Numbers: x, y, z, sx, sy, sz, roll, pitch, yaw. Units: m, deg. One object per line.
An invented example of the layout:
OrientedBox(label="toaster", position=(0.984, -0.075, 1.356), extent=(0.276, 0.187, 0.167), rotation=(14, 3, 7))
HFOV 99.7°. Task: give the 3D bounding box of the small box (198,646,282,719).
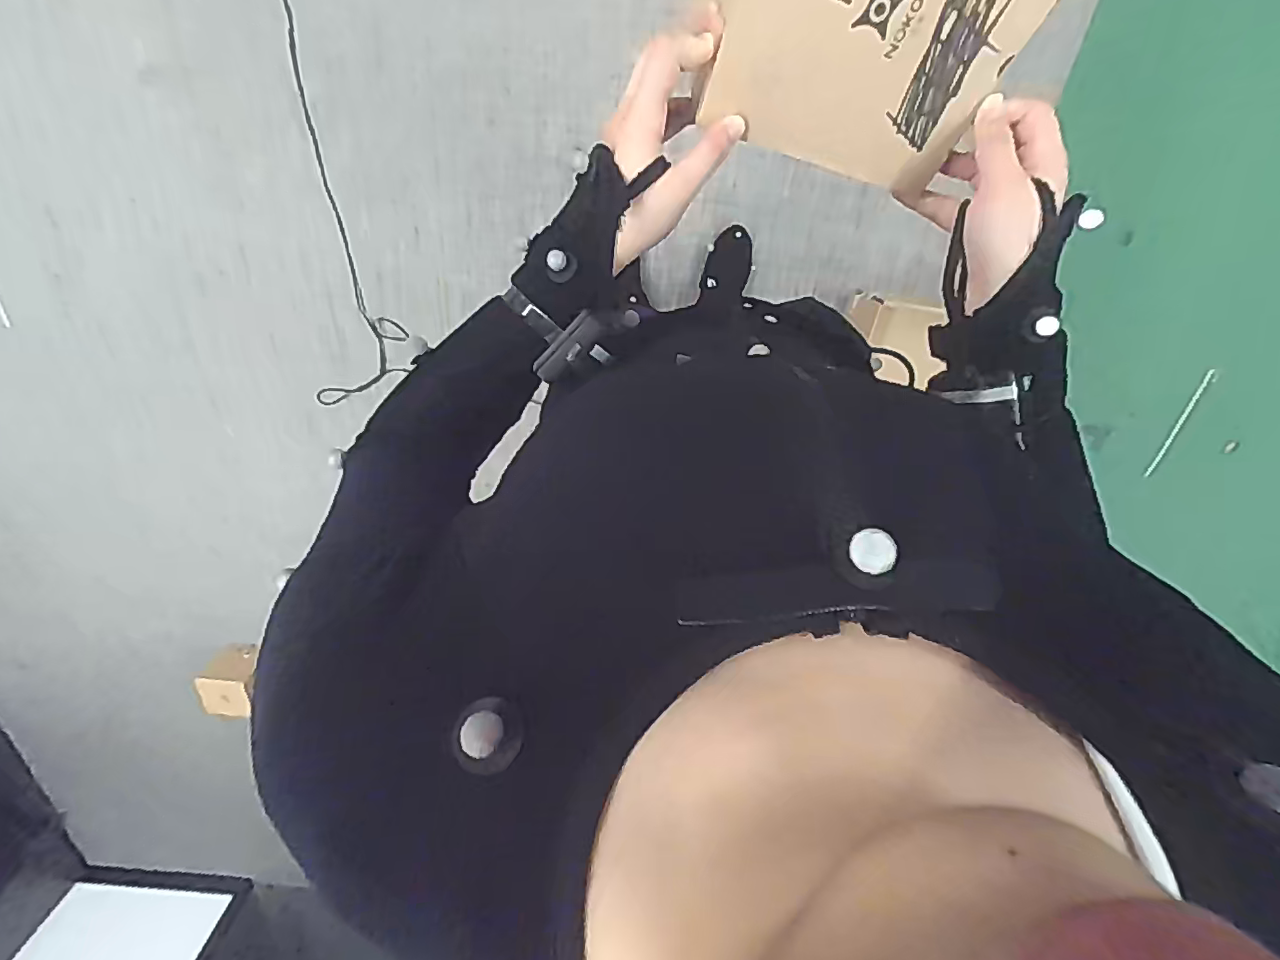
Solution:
OrientedBox(label="small box", position=(-1.433, 0.730, 1.951), extent=(0.168, 0.176, 0.179), rotation=(6, 118, -2))

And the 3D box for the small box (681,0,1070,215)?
OrientedBox(label="small box", position=(0.136, -0.313, 0.350), extent=(0.179, 0.176, 0.168), rotation=(11, 143, -13))
